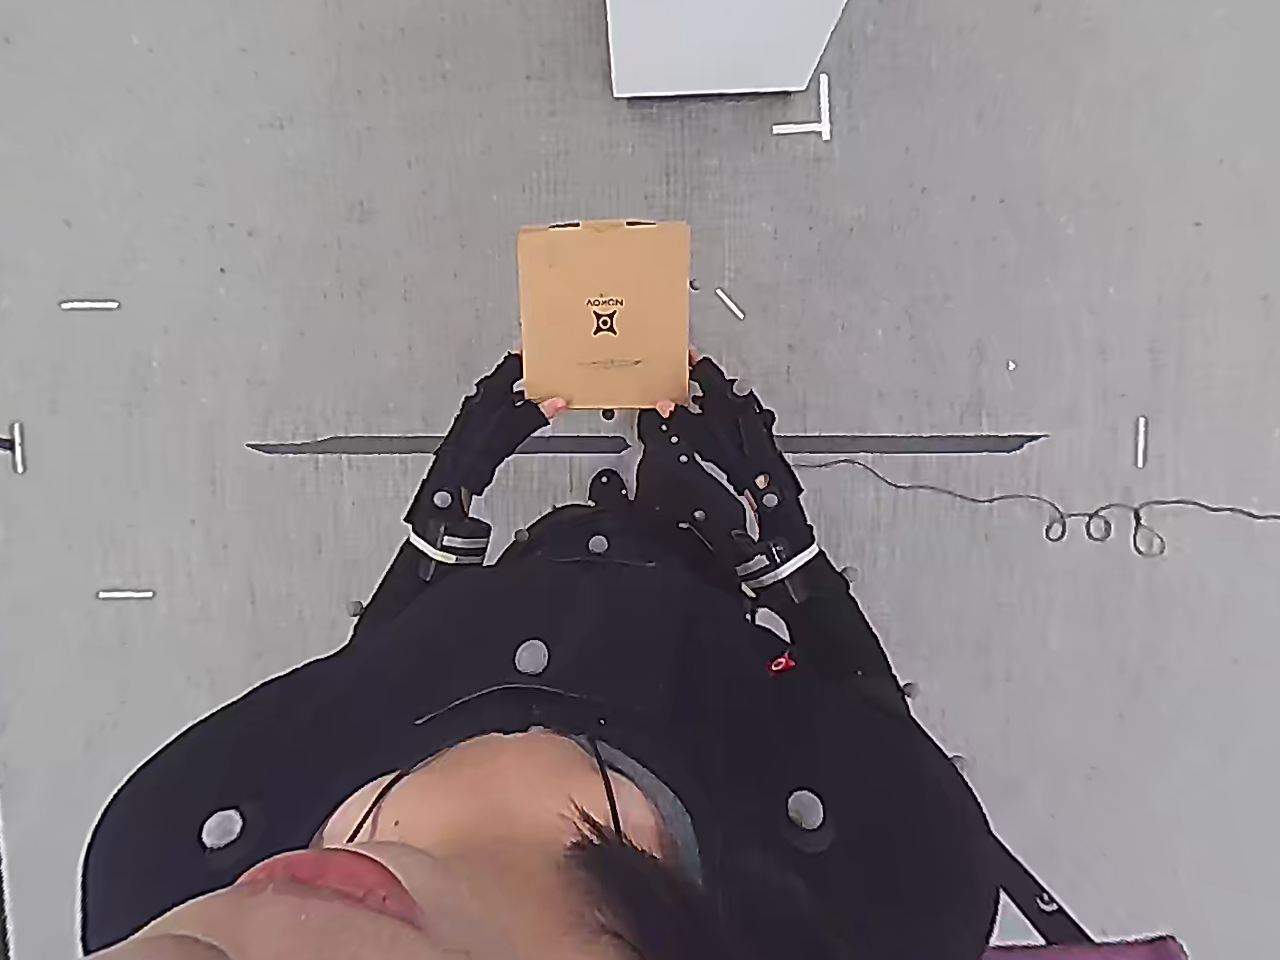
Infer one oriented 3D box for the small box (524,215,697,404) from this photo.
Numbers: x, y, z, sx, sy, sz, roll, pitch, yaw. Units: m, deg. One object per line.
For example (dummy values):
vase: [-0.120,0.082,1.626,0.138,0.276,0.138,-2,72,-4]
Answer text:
small box: [-0.025,-0.175,0.599,0.168,0.176,0.179,0,101,3]
